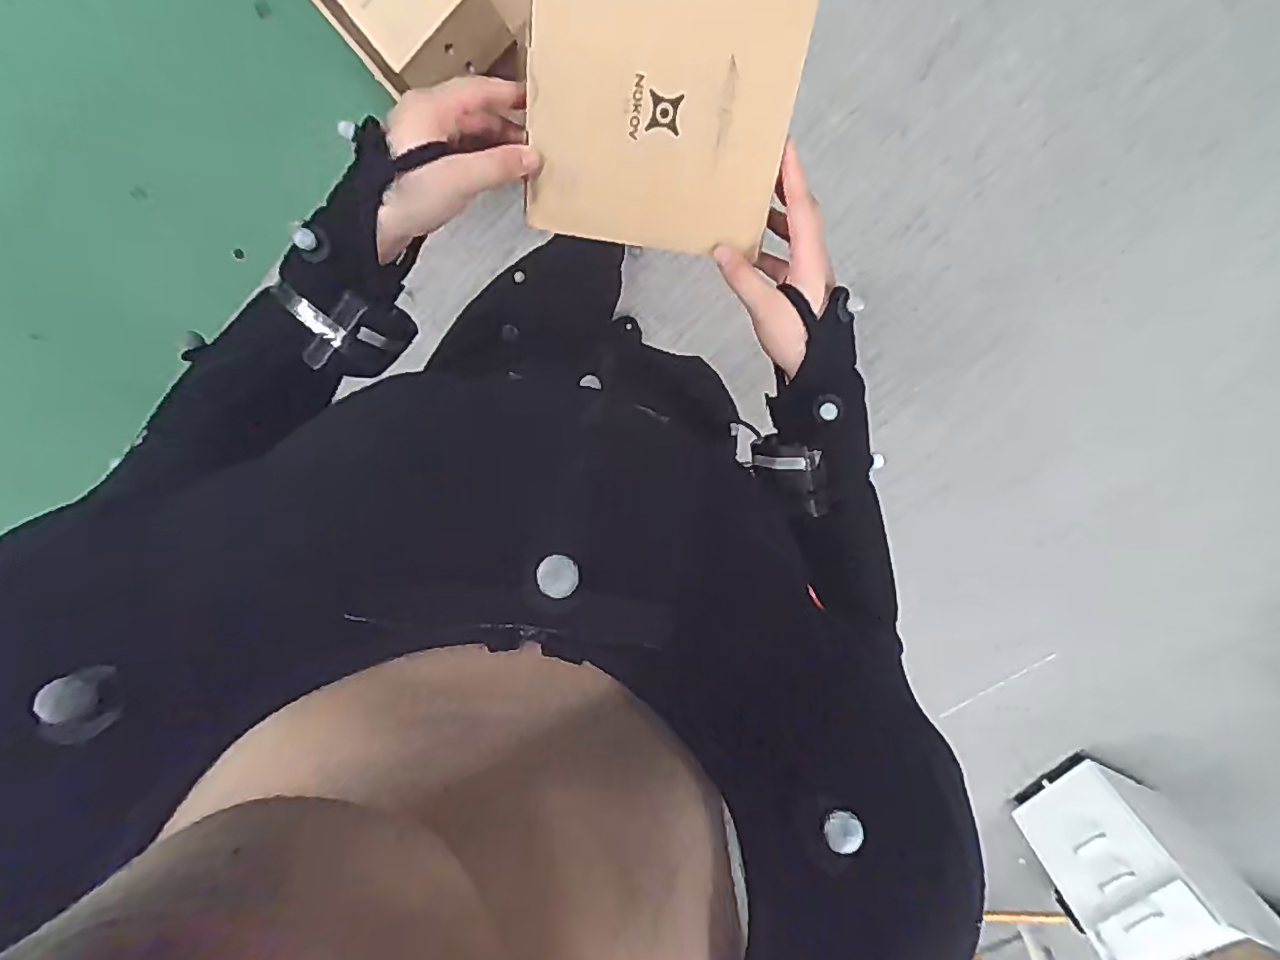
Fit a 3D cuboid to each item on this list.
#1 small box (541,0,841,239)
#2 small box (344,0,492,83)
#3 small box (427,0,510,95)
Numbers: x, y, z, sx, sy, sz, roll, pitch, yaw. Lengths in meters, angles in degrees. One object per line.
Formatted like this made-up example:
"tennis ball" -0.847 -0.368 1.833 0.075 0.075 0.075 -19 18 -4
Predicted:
"small box" 0.028 -0.293 0.411 0.179 0.176 0.168 6 122 -4
"small box" -0.345 -0.753 0.819 0.179 0.176 0.168 -35 113 15
"small box" -0.354 -0.831 0.963 0.179 0.176 0.168 -37 114 15
